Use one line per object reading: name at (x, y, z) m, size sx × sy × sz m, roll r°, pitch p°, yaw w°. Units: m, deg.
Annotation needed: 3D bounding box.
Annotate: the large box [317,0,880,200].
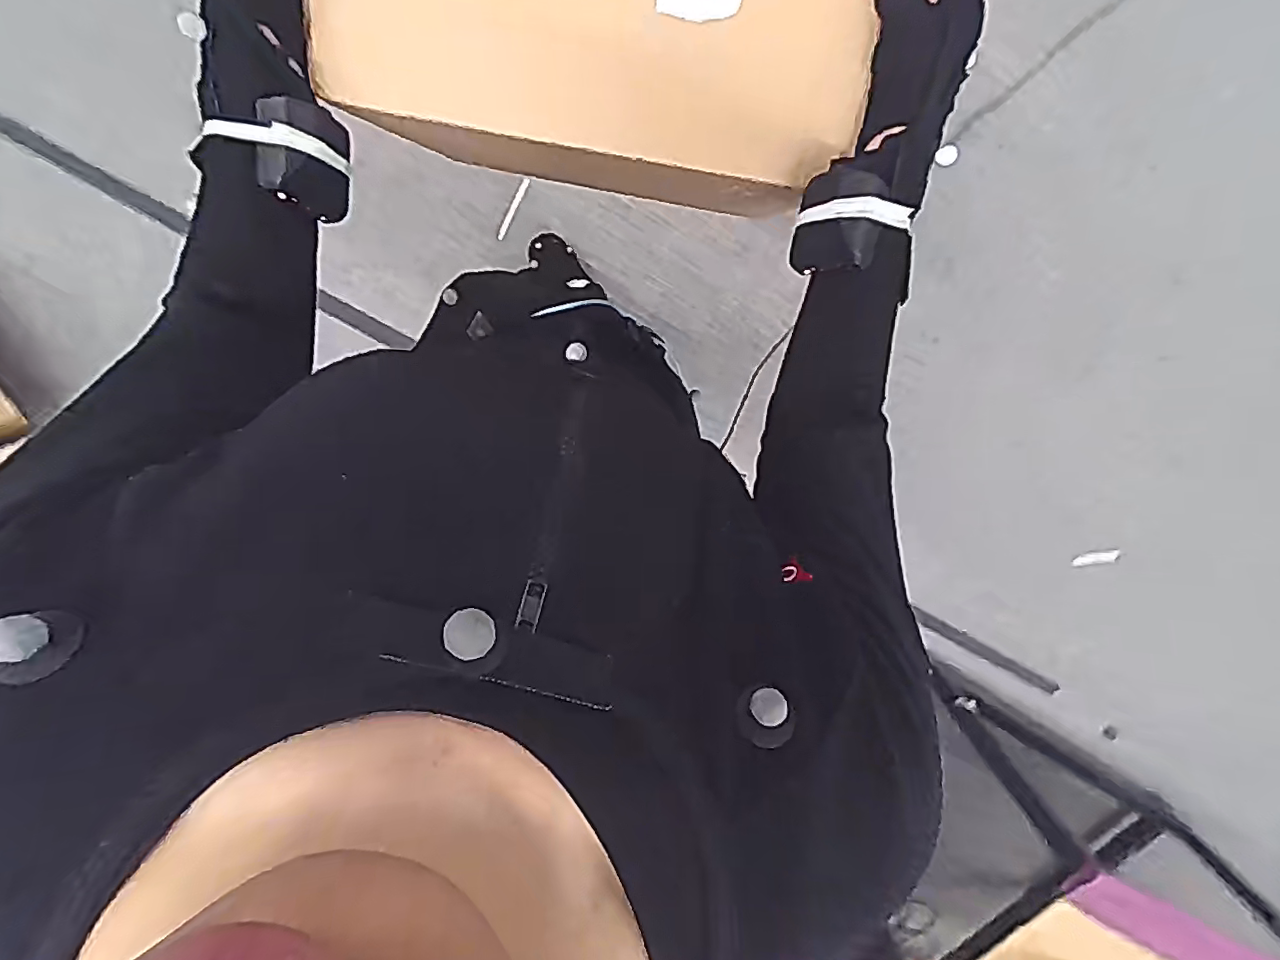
large box at (-0.021, -0.462, 0.492) m, size 0.408 × 0.320 × 0.320 m, roll 7°, pitch 114°, yaw -3°
